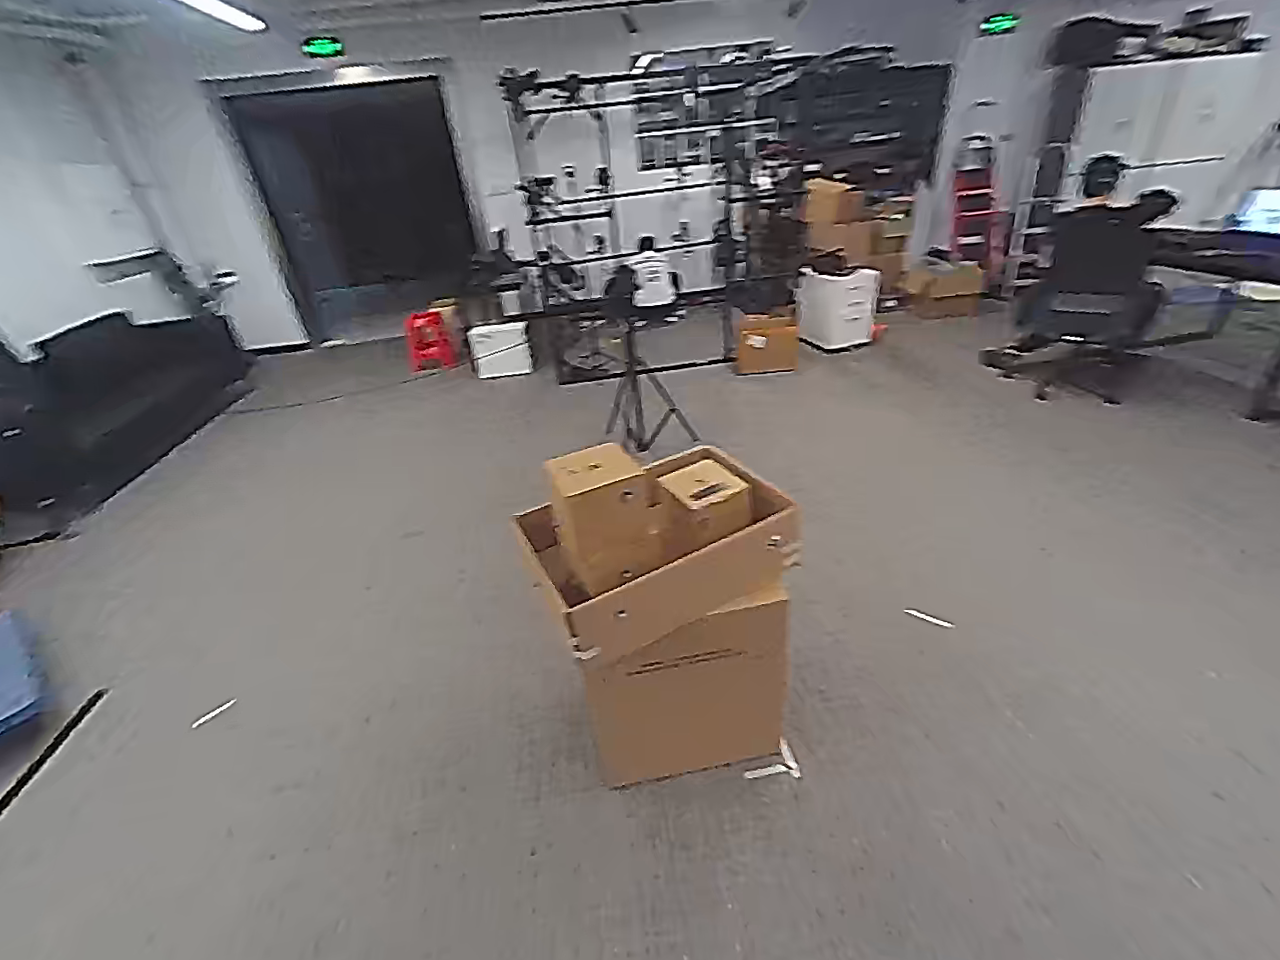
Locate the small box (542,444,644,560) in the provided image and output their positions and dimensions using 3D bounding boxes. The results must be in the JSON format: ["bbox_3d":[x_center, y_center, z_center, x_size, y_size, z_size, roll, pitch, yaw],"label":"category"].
[{"bbox_3d":[-0.100,0.047,1.198,0.179,0.176,0.168,-19,34,-18],"label":"small box"}]
